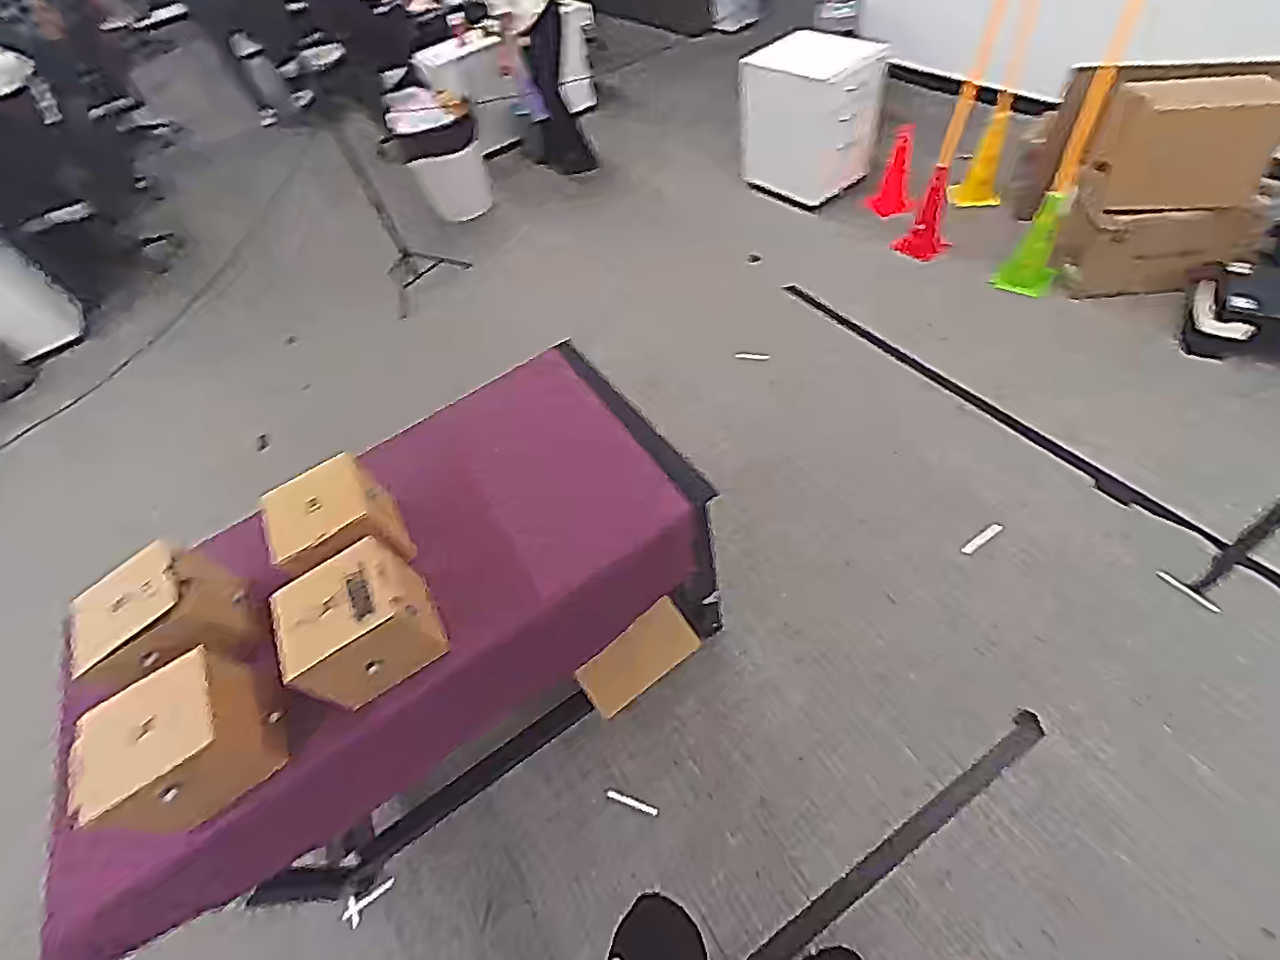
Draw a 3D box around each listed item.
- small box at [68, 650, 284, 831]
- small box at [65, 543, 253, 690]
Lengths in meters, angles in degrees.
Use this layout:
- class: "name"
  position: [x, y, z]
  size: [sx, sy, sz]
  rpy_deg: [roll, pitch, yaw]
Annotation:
- class: "small box"
  position: [-0.684, 0.395, 0.811]
  size: [0.179, 0.176, 0.168]
  rpy_deg: [-33, 56, -13]
- class: "small box"
  position: [-0.828, 0.251, 0.941]
  size: [0.179, 0.176, 0.168]
  rpy_deg: [-34, 56, -15]
